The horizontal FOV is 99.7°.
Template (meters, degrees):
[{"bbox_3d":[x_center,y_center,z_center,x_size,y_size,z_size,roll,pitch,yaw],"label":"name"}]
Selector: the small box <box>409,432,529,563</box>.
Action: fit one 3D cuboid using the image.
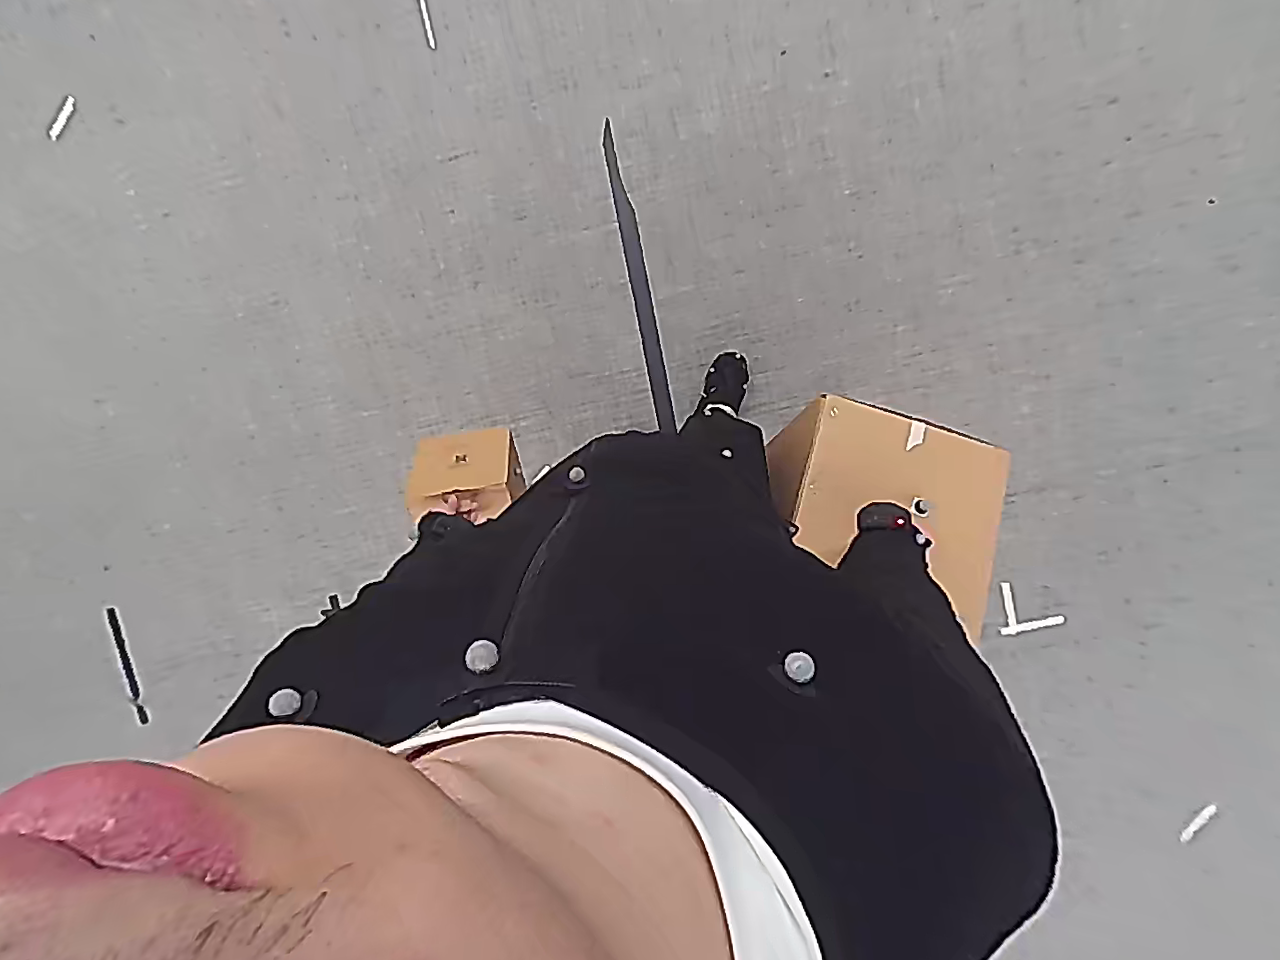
[{"bbox_3d":[-0.301,0.036,0.994,0.168,0.179,0.176,-9,128,-5],"label":"small box"}]
